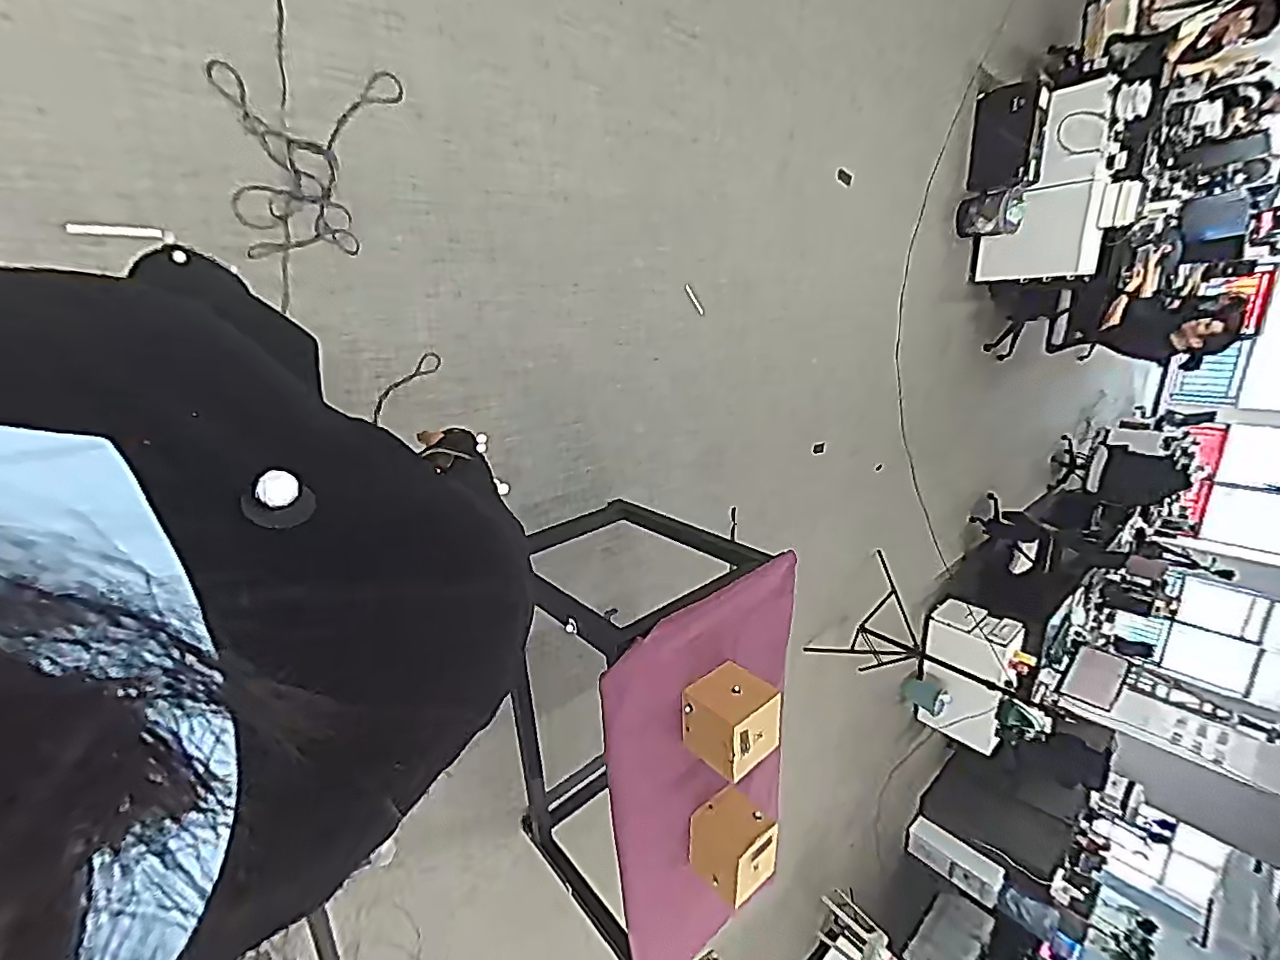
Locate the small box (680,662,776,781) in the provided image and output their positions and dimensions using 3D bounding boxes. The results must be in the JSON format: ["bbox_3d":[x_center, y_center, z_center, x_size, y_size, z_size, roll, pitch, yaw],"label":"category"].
[{"bbox_3d":[0.212,0.584,1.331,0.179,0.176,0.168,-17,113,-38],"label":"small box"}]
